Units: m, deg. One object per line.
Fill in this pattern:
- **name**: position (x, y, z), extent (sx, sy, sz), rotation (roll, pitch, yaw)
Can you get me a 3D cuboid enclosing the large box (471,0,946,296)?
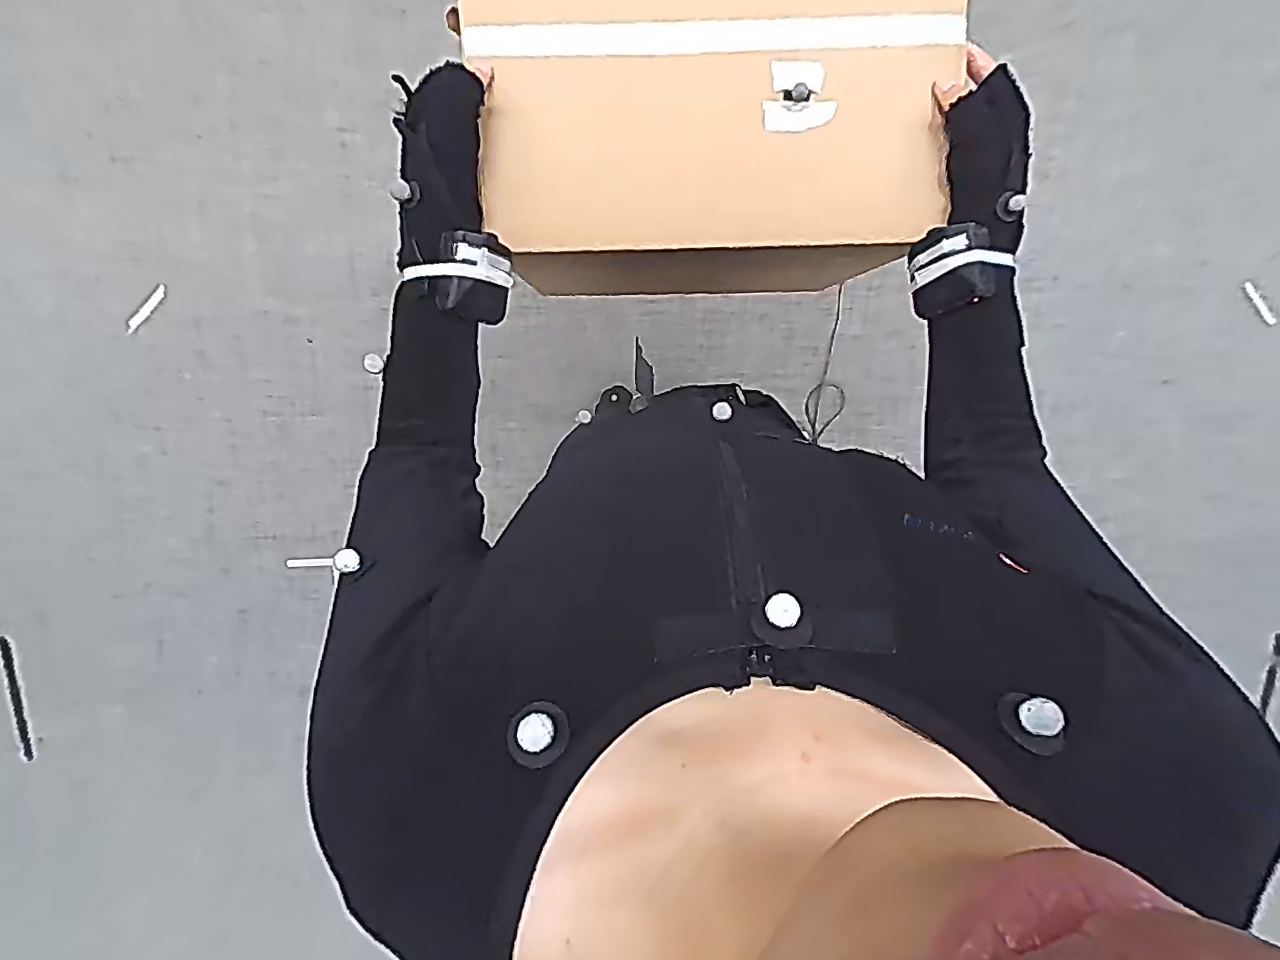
- **large box**: position (0.054, -0.392, 0.602), extent (0.408, 0.320, 0.320), rotation (-2, 103, -1)
